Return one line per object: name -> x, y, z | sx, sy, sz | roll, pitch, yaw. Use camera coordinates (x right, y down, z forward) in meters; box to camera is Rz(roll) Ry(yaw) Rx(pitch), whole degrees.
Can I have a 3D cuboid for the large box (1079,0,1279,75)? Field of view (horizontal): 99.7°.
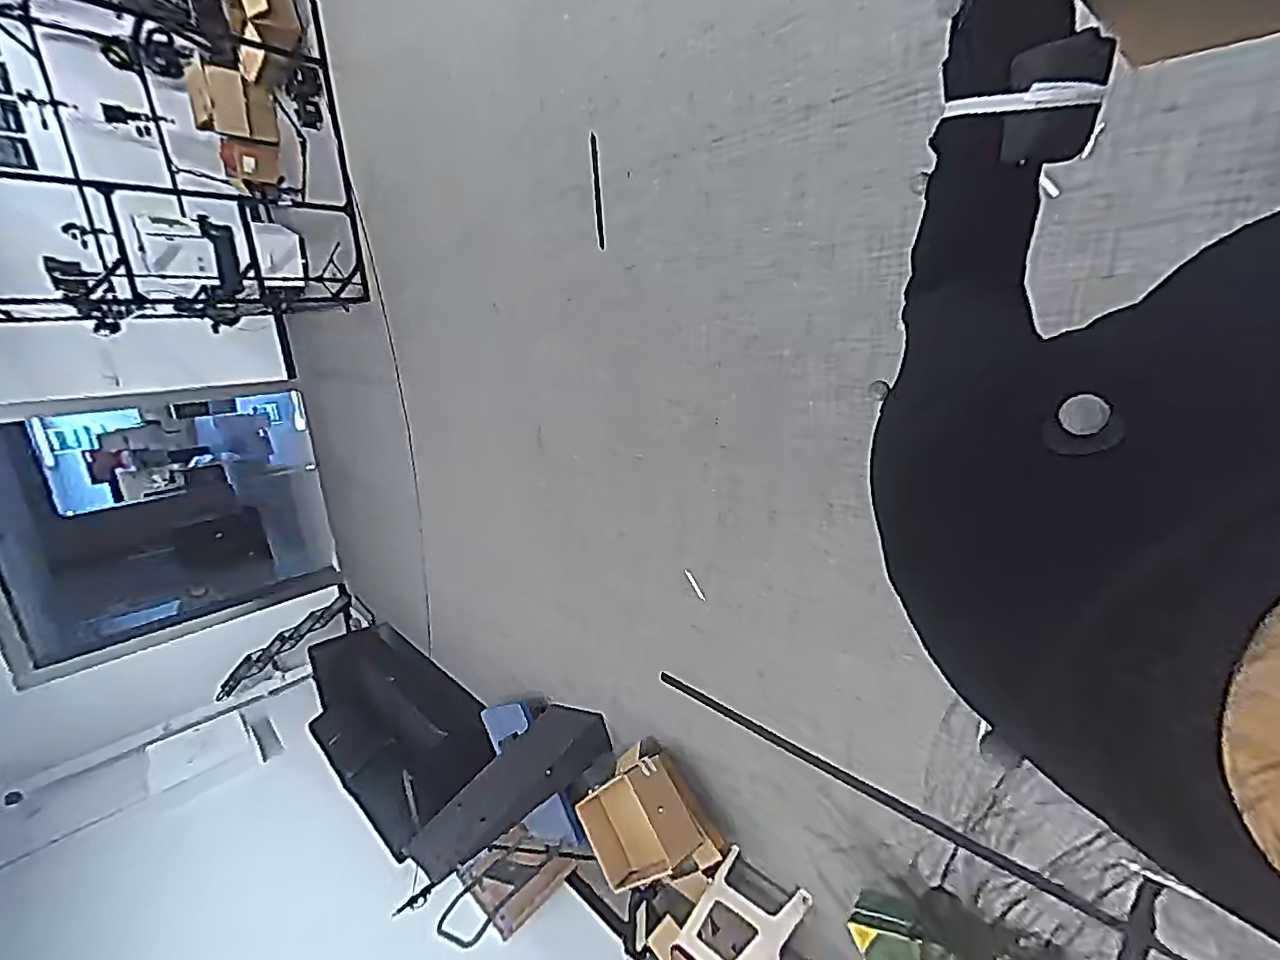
large box -> 0.484, -0.444, 0.236 | 0.408, 0.320, 0.320 | 15, 120, 42
